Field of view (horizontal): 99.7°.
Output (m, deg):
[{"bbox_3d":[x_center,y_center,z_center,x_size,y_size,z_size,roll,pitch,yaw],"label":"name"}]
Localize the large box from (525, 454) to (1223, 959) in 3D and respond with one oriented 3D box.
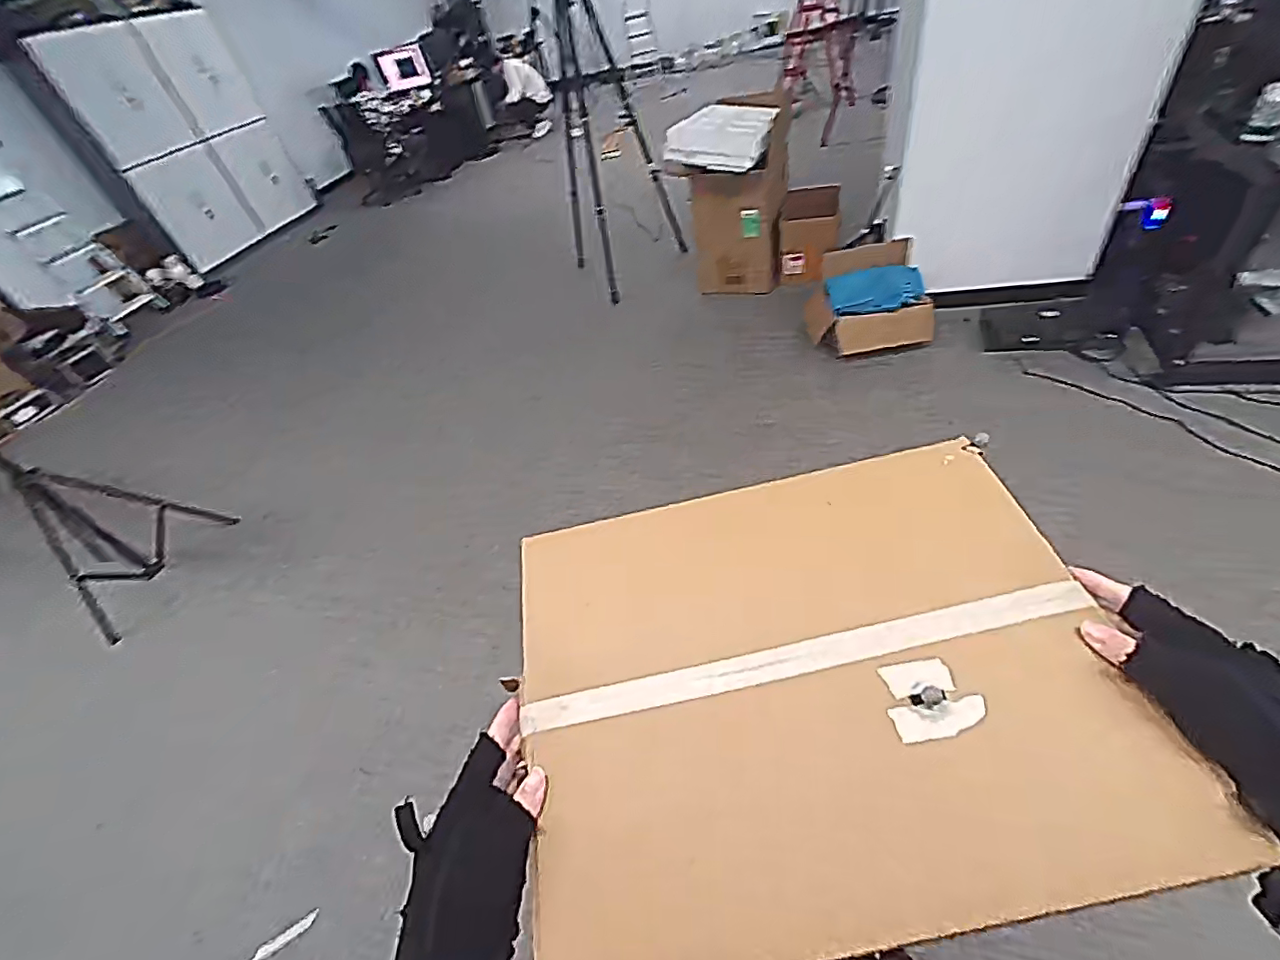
[{"bbox_3d":[0.135,0.229,0.513,0.408,0.320,0.320,-13,51,0],"label":"large box"}]
